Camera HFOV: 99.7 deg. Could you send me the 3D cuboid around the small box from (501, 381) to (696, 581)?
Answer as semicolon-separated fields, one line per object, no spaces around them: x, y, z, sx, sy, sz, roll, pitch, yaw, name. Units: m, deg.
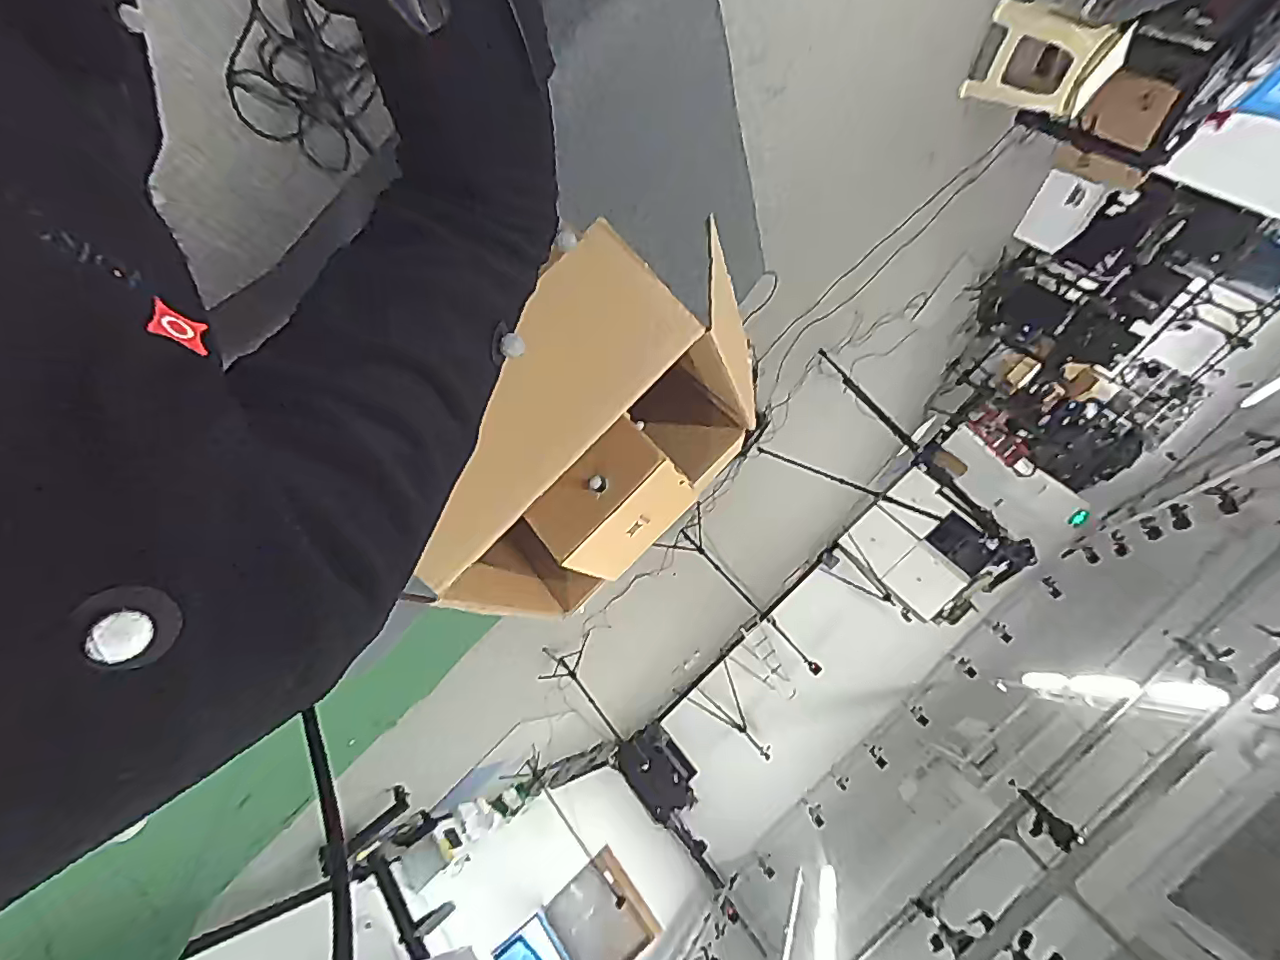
-0.058;0.005;0.718;0.179;0.176;0.168;-45;154;2;small box
